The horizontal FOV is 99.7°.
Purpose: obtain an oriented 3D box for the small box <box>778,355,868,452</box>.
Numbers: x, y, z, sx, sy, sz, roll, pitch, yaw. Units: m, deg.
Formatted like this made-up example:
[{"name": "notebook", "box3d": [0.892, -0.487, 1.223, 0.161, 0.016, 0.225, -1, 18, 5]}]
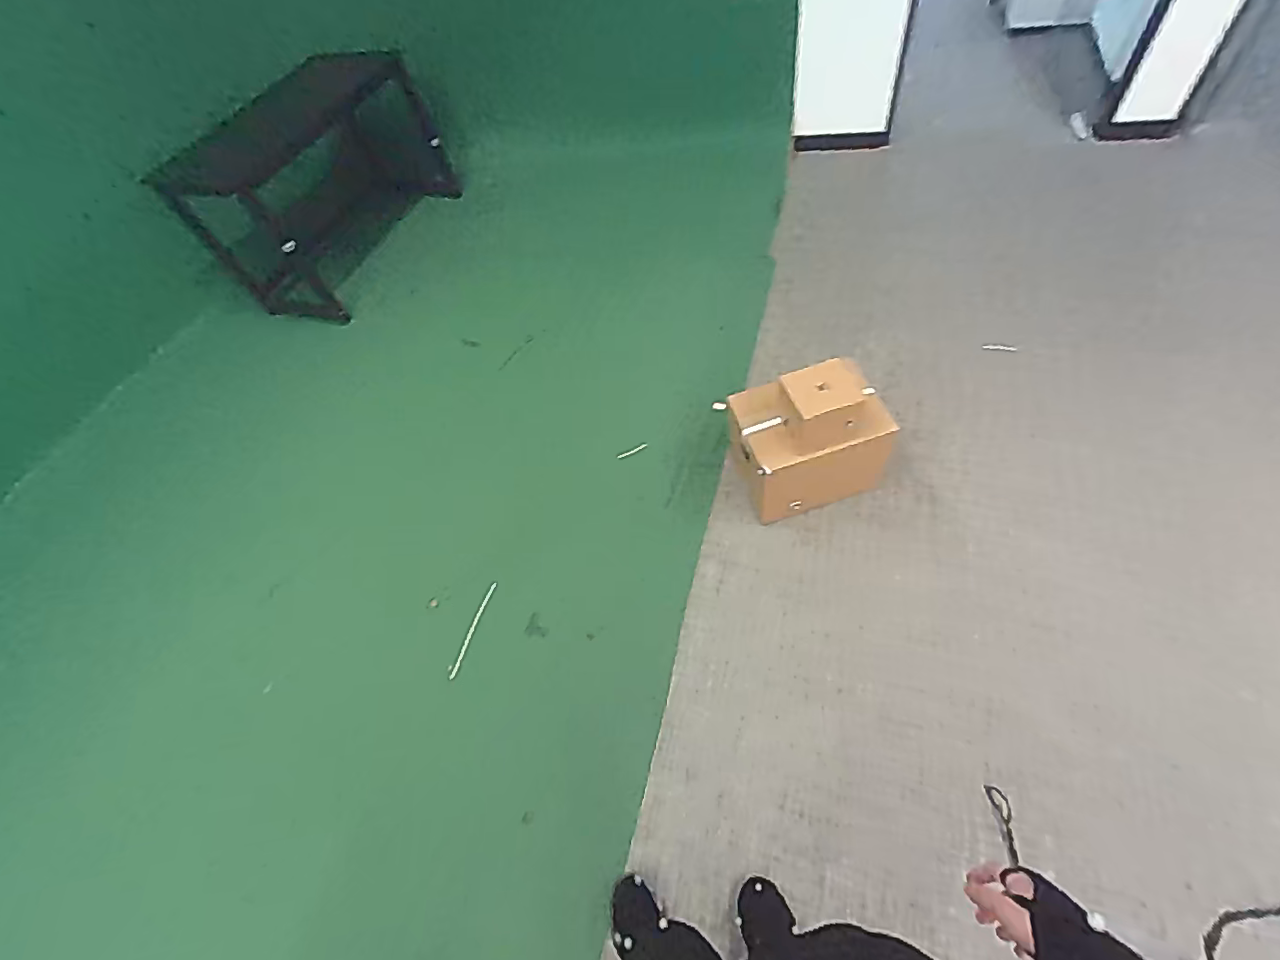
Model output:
[{"name": "small box", "box3d": [0.490, -0.206, 1.479, 0.179, 0.176, 0.168, -18, 56, 0]}]
